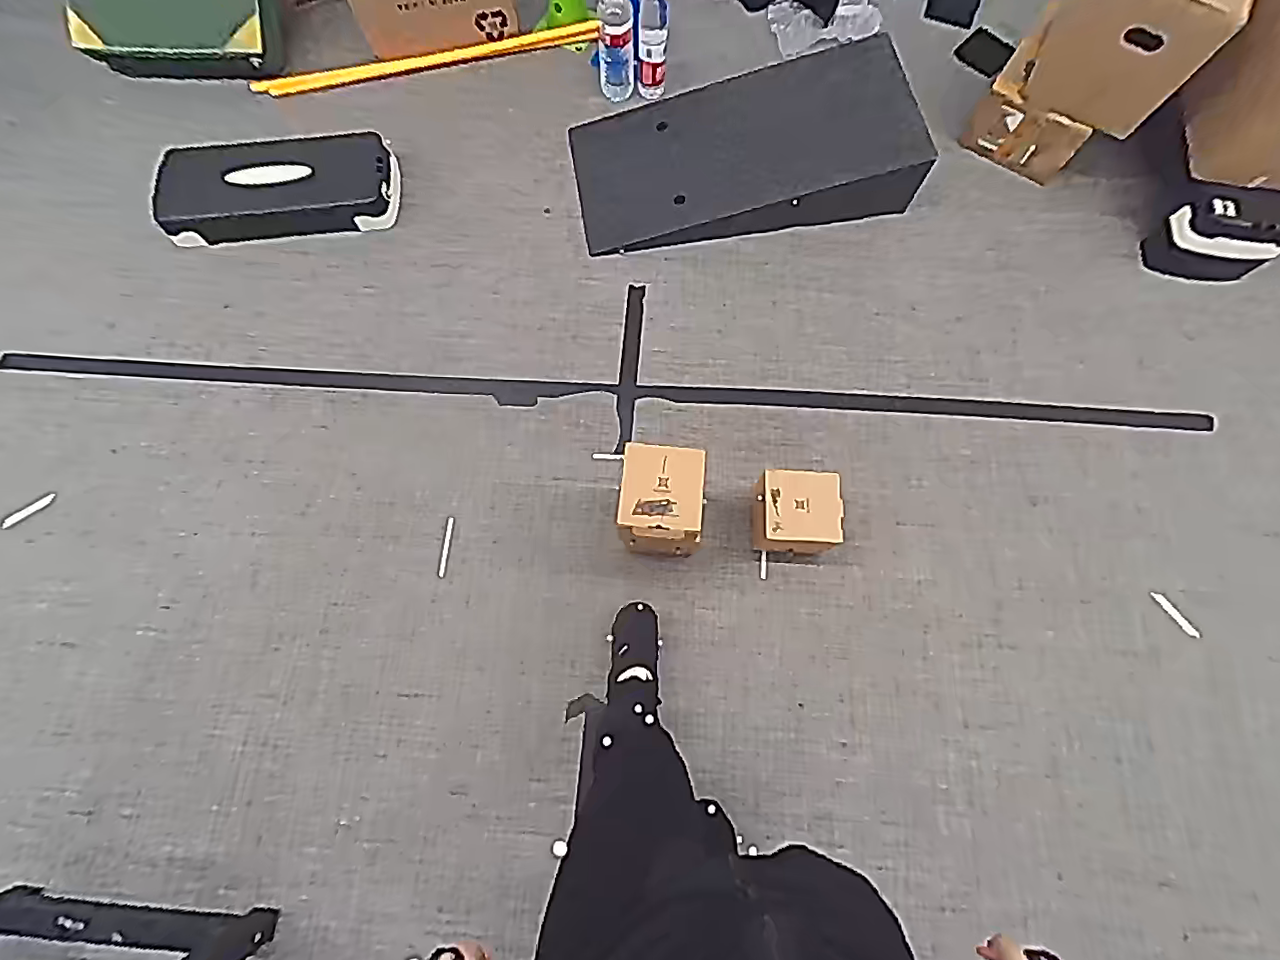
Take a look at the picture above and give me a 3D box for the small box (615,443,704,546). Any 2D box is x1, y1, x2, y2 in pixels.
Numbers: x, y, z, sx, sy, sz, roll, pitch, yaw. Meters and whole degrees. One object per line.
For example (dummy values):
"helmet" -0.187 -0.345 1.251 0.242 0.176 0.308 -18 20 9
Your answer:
"small box" 0.040 0.038 1.141 0.168 0.176 0.179 6 72 1

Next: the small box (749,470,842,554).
"small box" 0.368 0.084 1.301 0.179 0.176 0.168 4 73 0

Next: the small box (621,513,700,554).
"small box" 0.048 0.082 1.299 0.179 0.176 0.168 3 73 1
